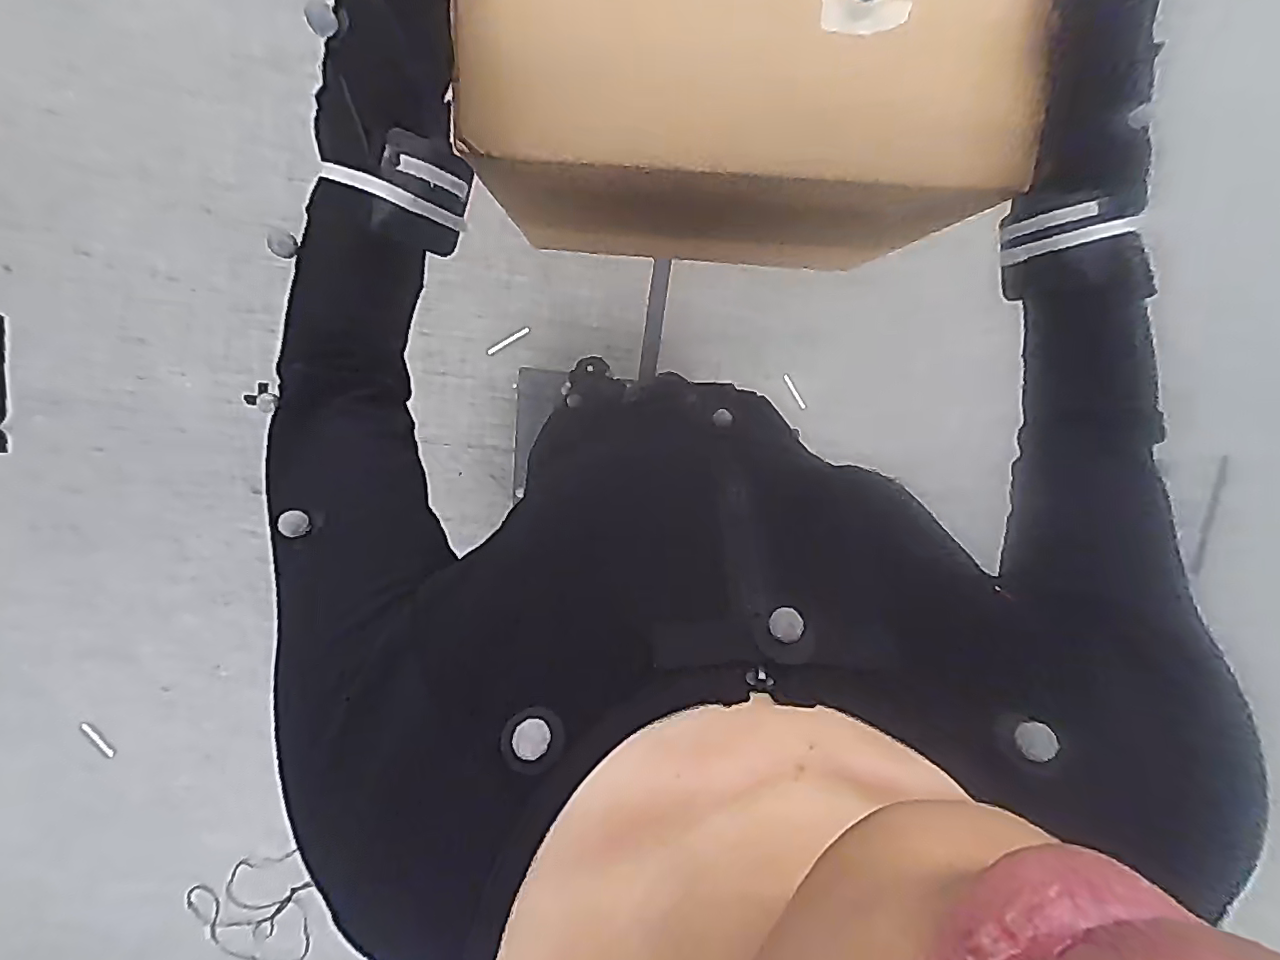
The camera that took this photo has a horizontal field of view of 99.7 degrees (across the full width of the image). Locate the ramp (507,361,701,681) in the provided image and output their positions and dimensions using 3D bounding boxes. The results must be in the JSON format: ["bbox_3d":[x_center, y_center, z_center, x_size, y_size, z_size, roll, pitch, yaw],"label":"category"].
[{"bbox_3d":[-0.131,0.172,1.599,0.509,0.206,0.991,4,100,-4],"label":"ramp"}]

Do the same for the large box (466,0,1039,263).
[{"bbox_3d":[0.075,-0.404,0.508,0.408,0.320,0.320,3,102,-3],"label":"large box"}]
